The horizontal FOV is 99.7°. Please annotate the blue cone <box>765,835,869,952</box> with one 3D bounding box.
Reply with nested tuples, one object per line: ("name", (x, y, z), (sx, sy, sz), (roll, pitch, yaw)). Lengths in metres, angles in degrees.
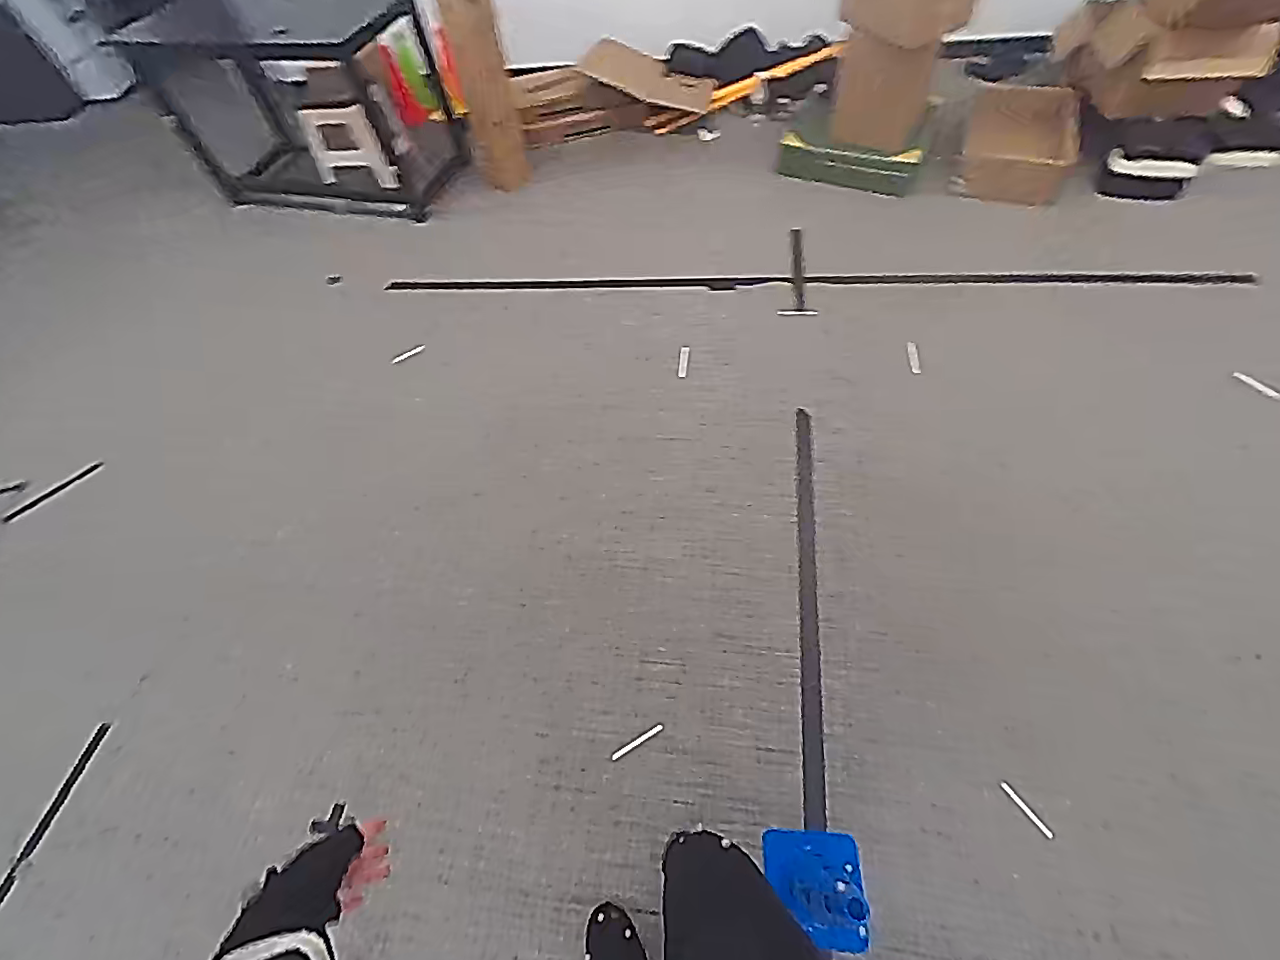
("blue cone", (0.348, 0.757, 0.967), (0.192, 0.380, 0.193), (-1, 58, 5))
